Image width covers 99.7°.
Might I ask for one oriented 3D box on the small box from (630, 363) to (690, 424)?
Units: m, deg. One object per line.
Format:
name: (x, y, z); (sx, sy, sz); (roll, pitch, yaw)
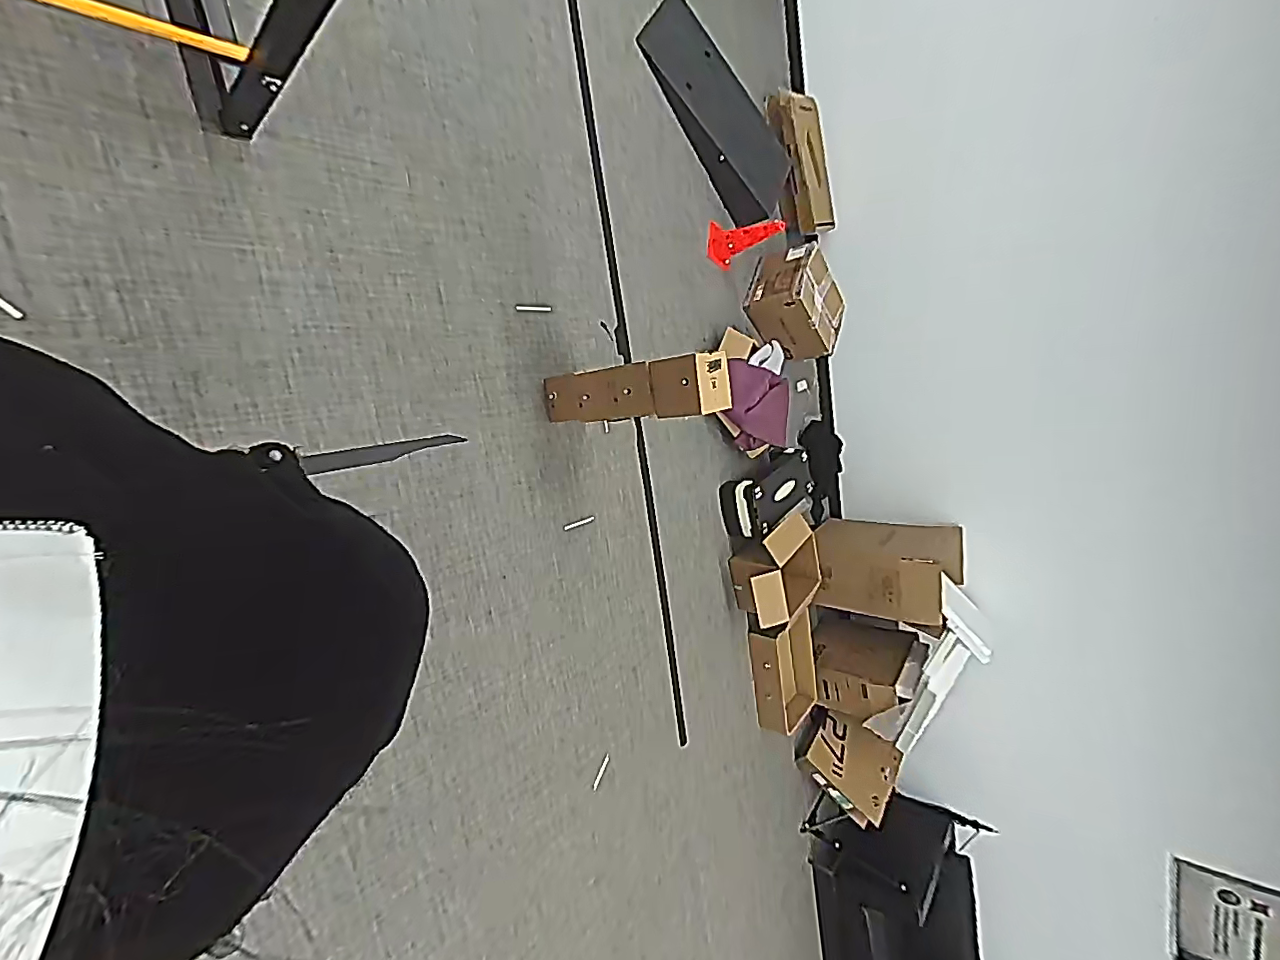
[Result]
small box: (0.082, -0.273, 1.706); (0.179, 0.176, 0.168); (-17, 103, -47)

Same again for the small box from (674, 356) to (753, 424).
small box: (0.215, -0.266, 1.606); (0.168, 0.176, 0.179); (-20, 106, -47)

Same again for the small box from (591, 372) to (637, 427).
small box: (-0.040, -0.274, 1.815); (0.179, 0.176, 0.168); (-18, 103, -47)

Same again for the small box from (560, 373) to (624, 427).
small box: (-0.159, -0.285, 1.929); (0.179, 0.176, 0.168); (-19, 104, -46)
